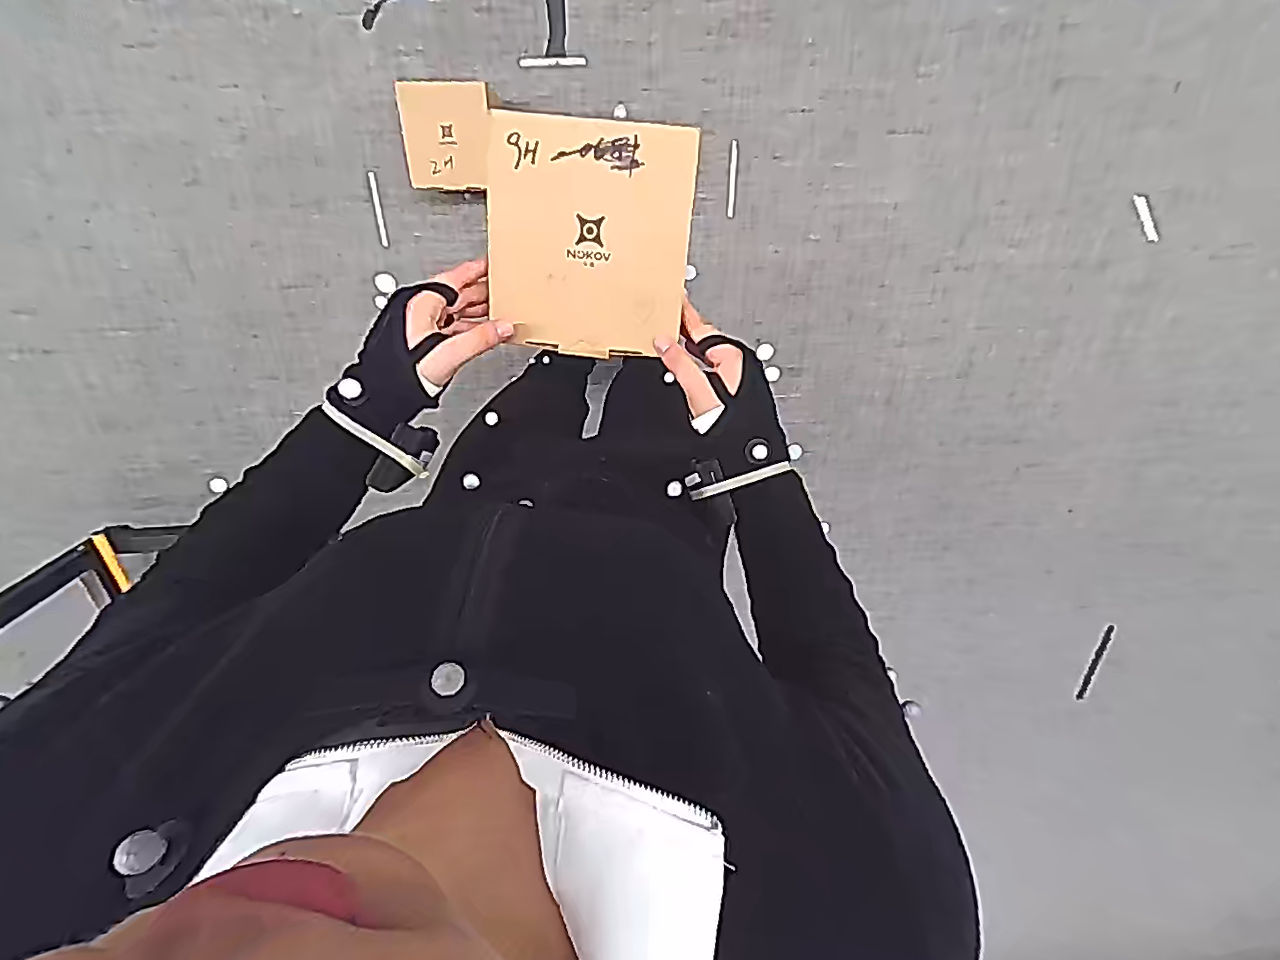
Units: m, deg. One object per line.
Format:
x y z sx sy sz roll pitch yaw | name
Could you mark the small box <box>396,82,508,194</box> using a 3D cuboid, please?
-0.370 -0.683 1.097 0.168 0.176 0.179 -1 117 -2 | small box
